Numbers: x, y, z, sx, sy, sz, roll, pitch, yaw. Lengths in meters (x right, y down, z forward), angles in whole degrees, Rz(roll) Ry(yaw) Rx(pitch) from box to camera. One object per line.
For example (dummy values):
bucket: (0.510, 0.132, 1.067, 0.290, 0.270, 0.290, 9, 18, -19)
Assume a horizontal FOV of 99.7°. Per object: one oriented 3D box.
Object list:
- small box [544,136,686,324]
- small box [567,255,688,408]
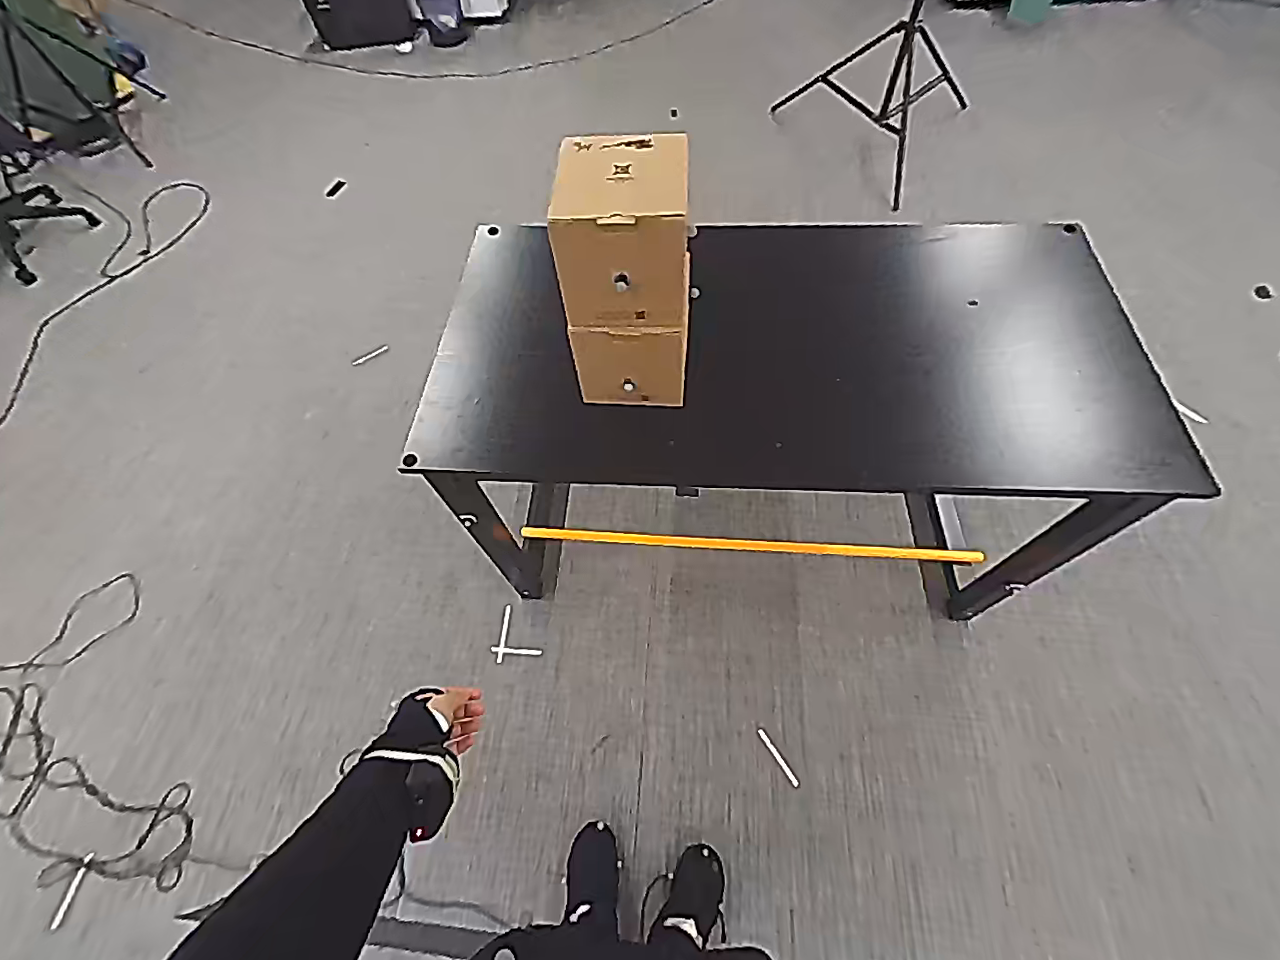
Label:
small box: (-0.022, -0.329, 0.731, 0.168, 0.176, 0.179, 1, 61, 4)
small box: (-0.011, -0.239, 0.869, 0.168, 0.176, 0.179, 3, 61, 6)
